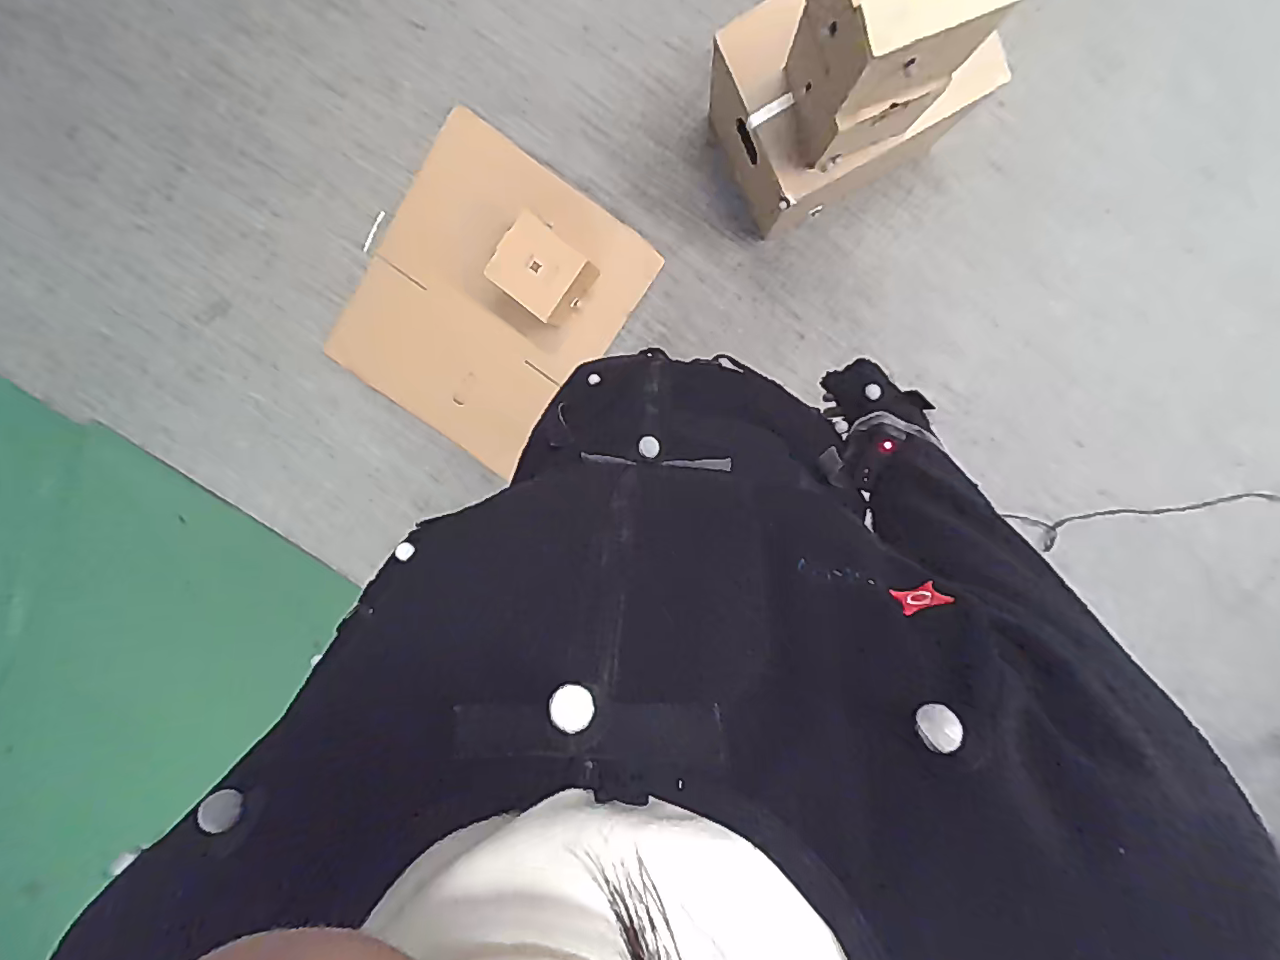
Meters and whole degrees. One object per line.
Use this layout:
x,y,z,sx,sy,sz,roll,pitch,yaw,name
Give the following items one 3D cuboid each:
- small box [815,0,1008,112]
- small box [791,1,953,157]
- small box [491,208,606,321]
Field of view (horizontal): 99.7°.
0.333,-0.611,0.680,0.179,0.176,0.168,-20,98,9,small box
0.348,-0.634,0.839,0.168,0.176,0.179,-19,100,10,small box
-0.201,-0.479,1.238,0.179,0.176,0.168,37,105,-3,small box
